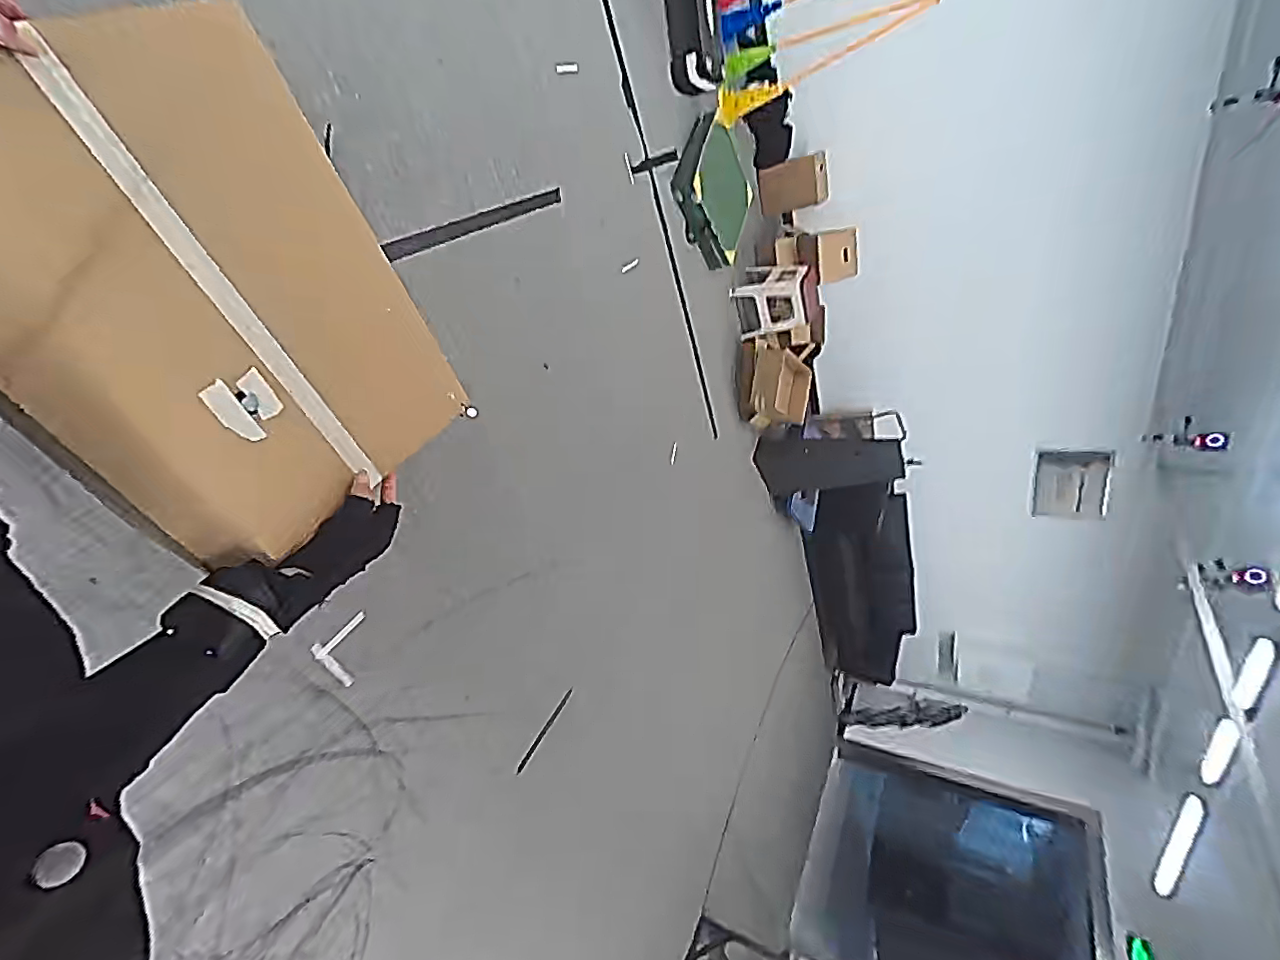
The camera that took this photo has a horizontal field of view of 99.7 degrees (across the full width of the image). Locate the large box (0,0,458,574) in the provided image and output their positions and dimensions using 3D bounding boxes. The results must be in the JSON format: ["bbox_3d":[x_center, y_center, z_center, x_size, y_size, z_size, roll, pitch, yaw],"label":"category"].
[{"bbox_3d":[-0.485,-0.171,0.561,0.320,0.320,0.408,-53,136,-35],"label":"large box"}]
